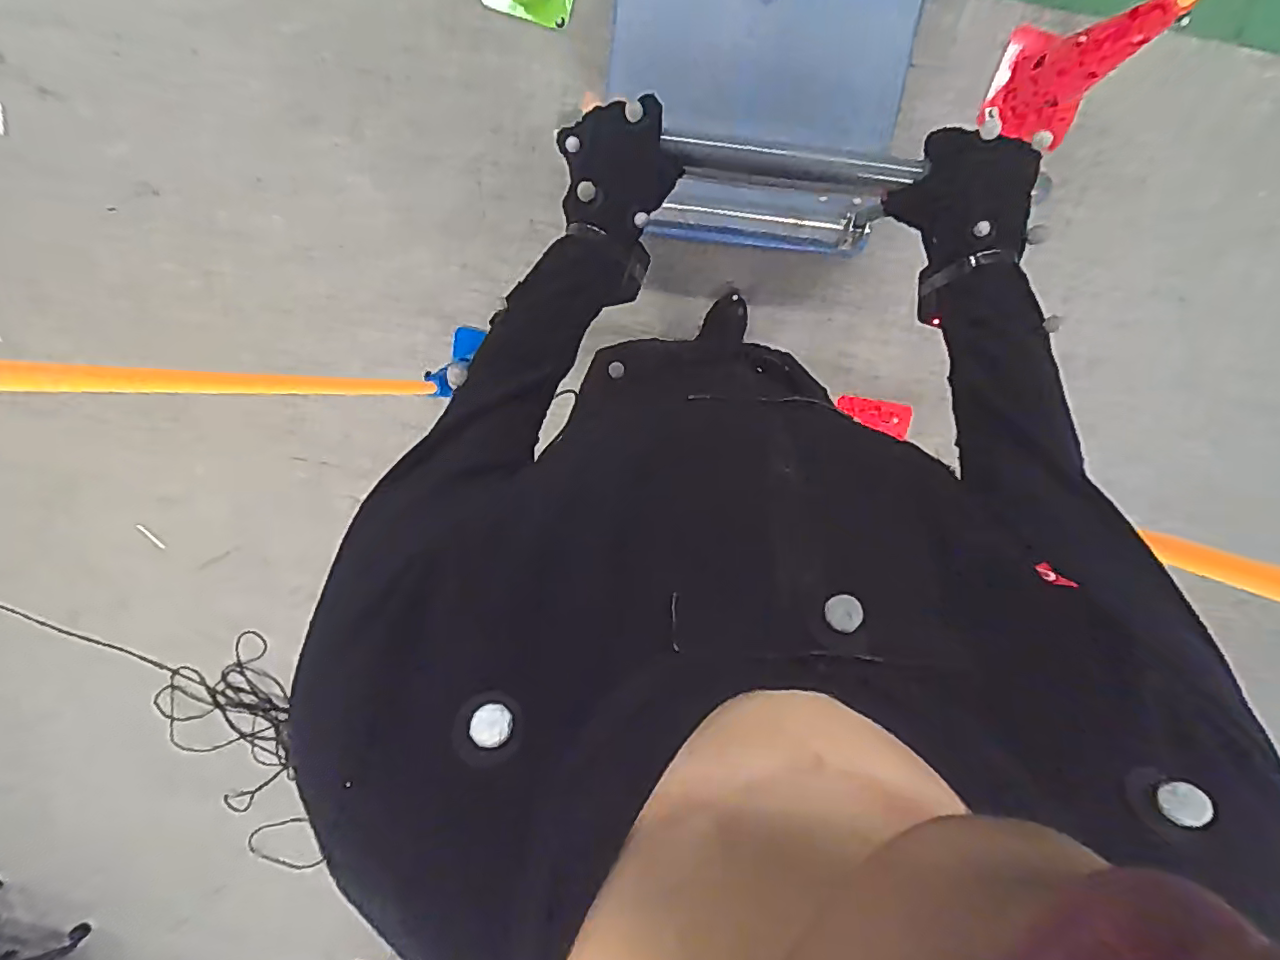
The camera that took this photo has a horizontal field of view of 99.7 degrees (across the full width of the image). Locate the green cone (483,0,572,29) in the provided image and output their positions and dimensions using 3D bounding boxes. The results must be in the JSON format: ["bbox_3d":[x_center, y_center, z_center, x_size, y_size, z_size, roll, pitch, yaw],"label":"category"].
[{"bbox_3d":[-0.245,-1.071,1.011,0.202,0.368,0.200,16,106,-1],"label":"green cone"}]

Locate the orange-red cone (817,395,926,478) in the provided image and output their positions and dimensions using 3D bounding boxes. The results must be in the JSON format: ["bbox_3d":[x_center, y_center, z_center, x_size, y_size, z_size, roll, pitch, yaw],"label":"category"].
[{"bbox_3d":[0.573,-0.068,1.266,0.199,0.360,0.198,12,106,1],"label":"orange-red cone"}]
